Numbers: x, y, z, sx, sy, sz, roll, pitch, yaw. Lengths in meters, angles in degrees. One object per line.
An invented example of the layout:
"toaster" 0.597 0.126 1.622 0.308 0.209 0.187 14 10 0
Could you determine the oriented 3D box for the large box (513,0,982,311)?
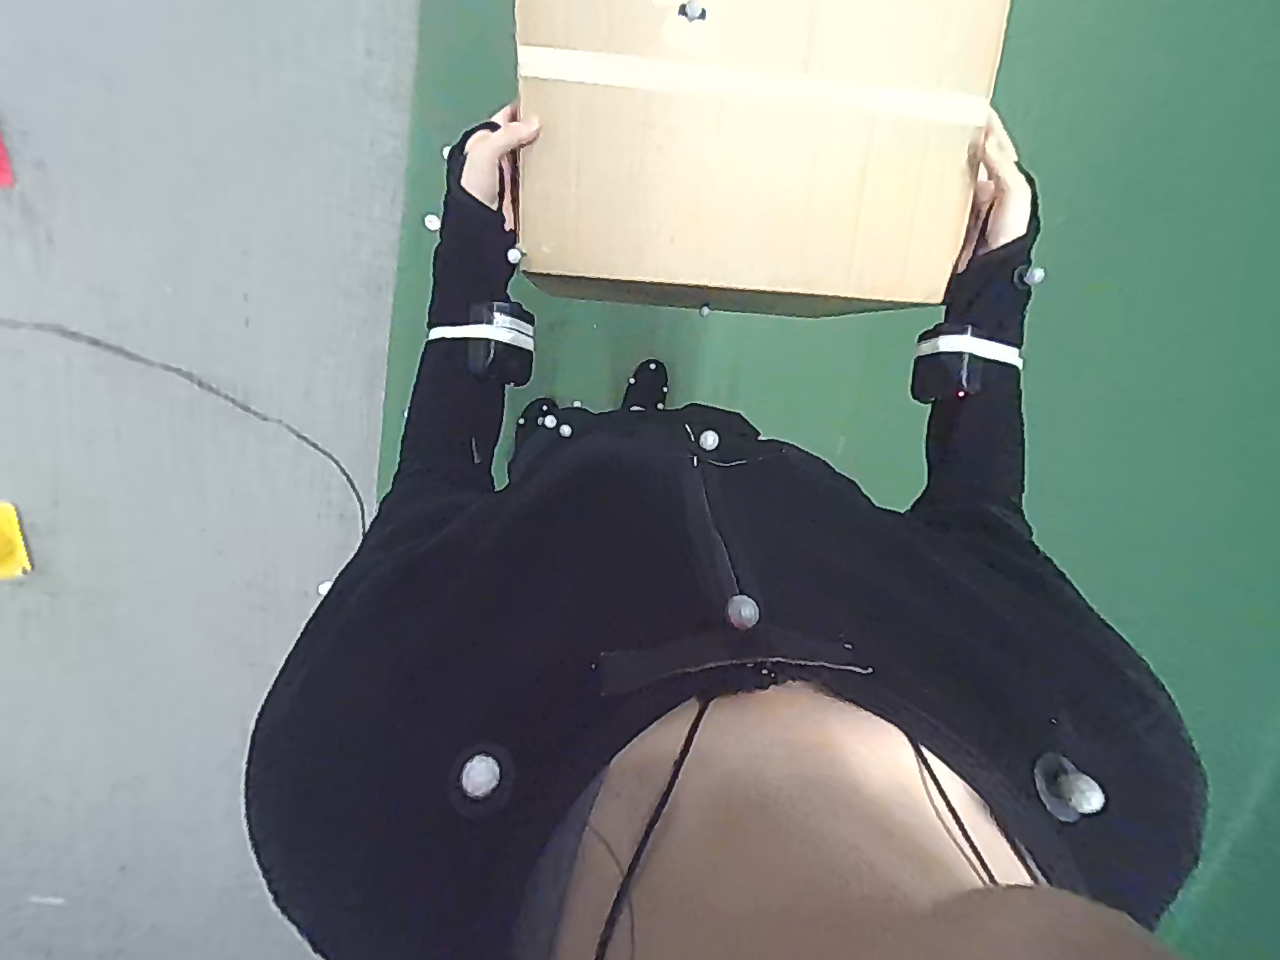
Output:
"large box" 0.082 -0.363 0.613 0.408 0.320 0.320 2 103 -5
